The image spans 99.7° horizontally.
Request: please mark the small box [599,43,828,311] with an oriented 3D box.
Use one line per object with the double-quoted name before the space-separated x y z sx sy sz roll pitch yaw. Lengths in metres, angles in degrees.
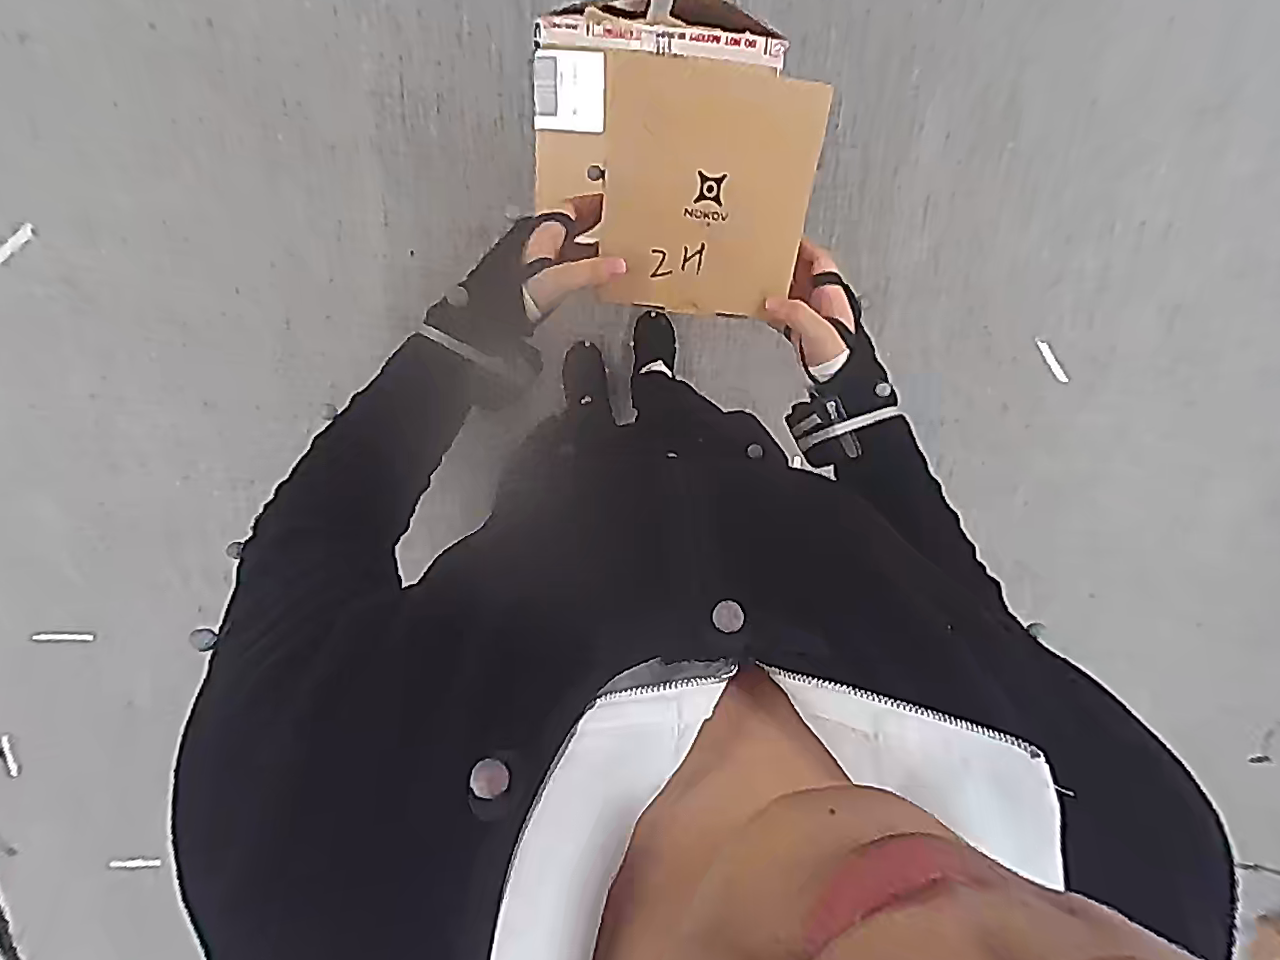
"small box" 0.050 -0.267 0.507 0.168 0.176 0.179 4 115 -5
